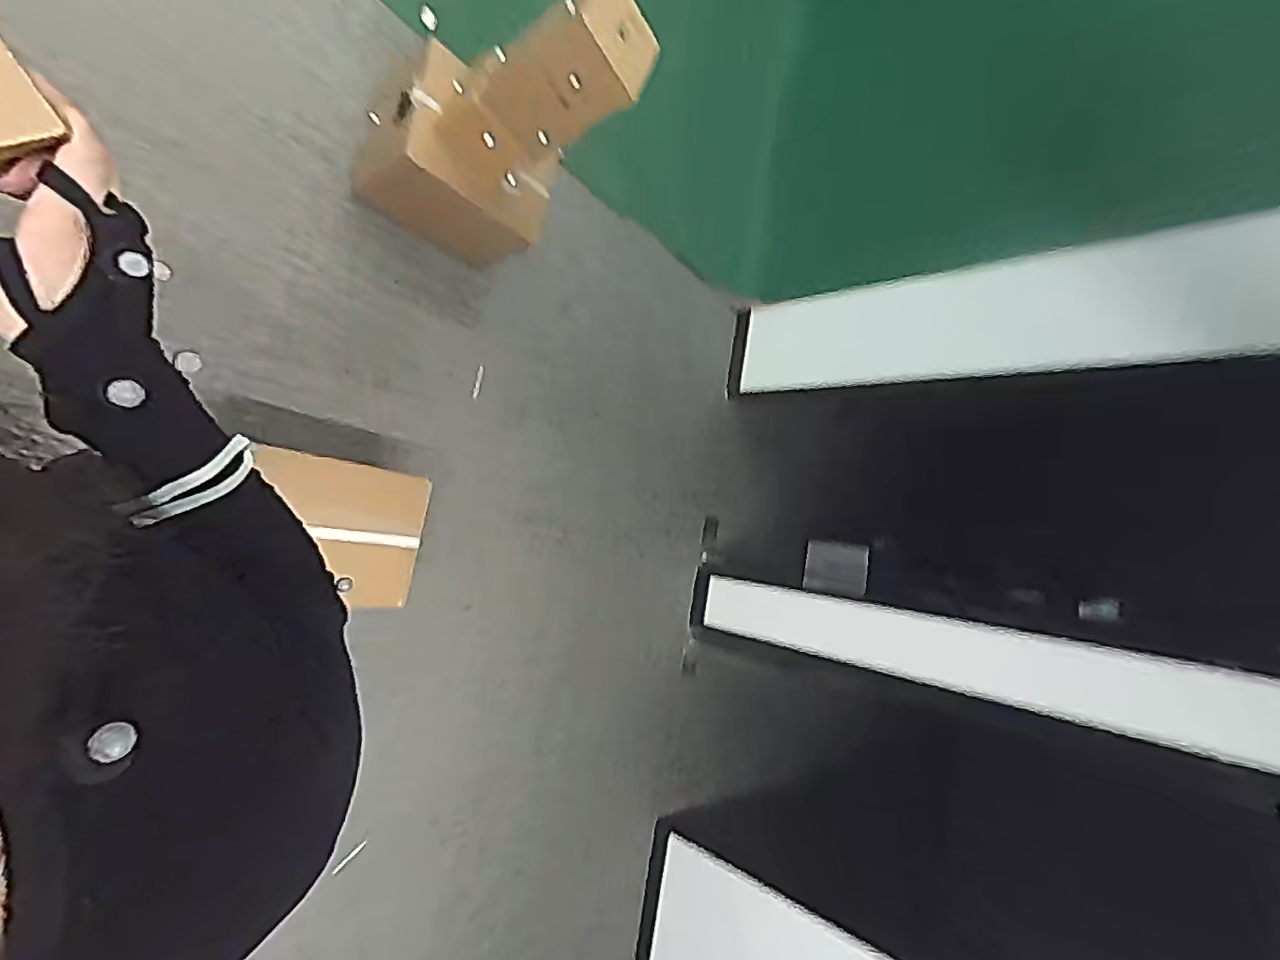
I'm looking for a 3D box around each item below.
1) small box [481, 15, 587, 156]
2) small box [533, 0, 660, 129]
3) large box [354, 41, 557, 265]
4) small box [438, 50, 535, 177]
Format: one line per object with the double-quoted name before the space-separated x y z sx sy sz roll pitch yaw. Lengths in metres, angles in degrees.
"small box" -0.216 -0.861 1.205 0.179 0.176 0.168 37 64 -43
"small box" -0.091 -0.864 1.097 0.168 0.176 0.179 39 63 -44
"large box" -0.501 -0.861 1.496 0.408 0.320 0.320 18 79 -50
"small box" -0.347 -0.865 1.302 0.179 0.176 0.168 33 68 -46
